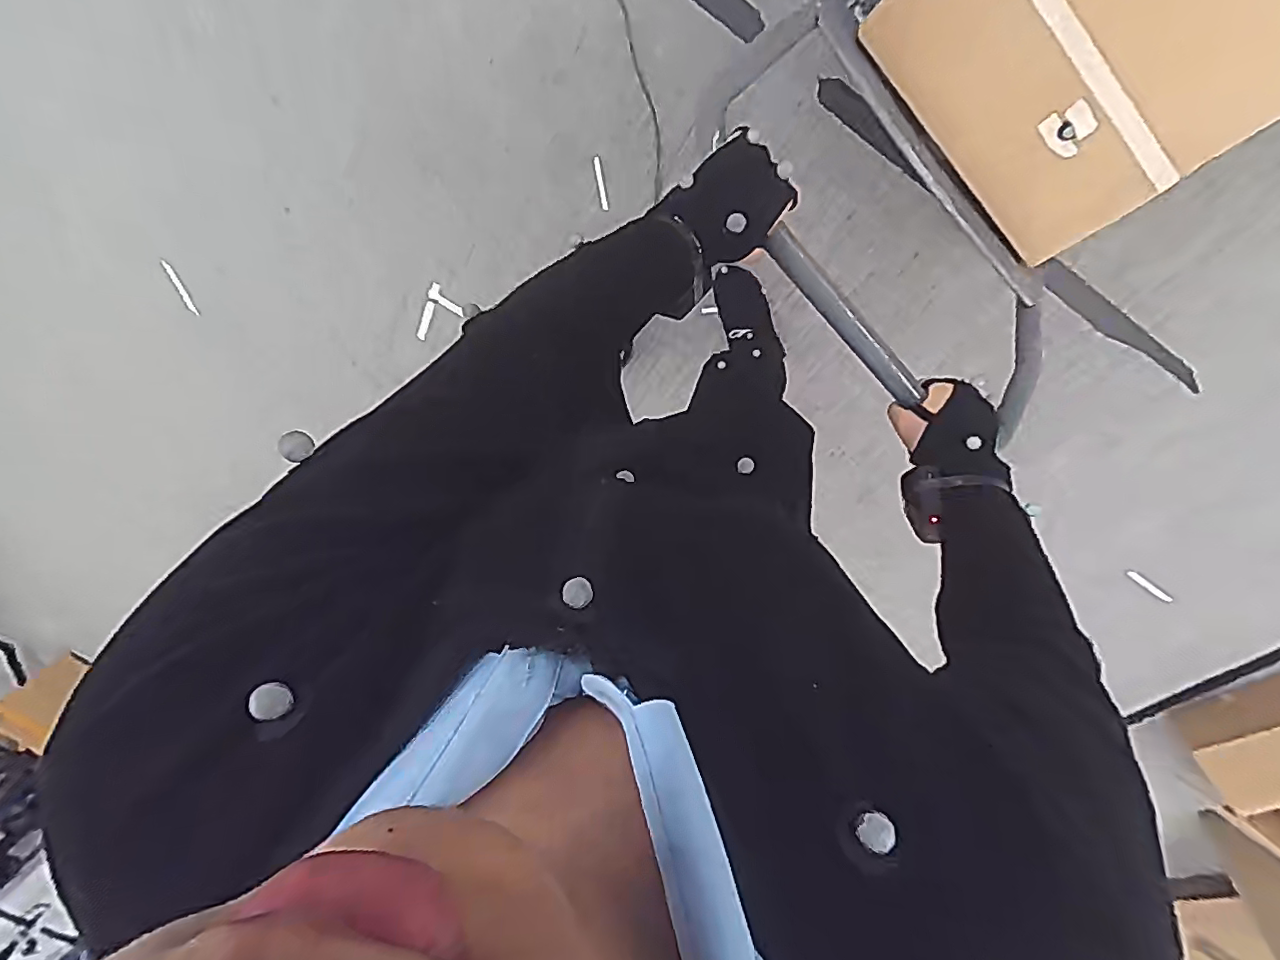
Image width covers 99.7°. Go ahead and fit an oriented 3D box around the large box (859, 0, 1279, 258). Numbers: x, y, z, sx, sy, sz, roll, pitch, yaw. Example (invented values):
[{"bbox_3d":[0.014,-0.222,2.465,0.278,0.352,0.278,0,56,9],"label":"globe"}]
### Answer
[{"bbox_3d":[0.563,-0.602,0.726,0.408,0.320,0.320,42,139,-14],"label":"large box"}]
